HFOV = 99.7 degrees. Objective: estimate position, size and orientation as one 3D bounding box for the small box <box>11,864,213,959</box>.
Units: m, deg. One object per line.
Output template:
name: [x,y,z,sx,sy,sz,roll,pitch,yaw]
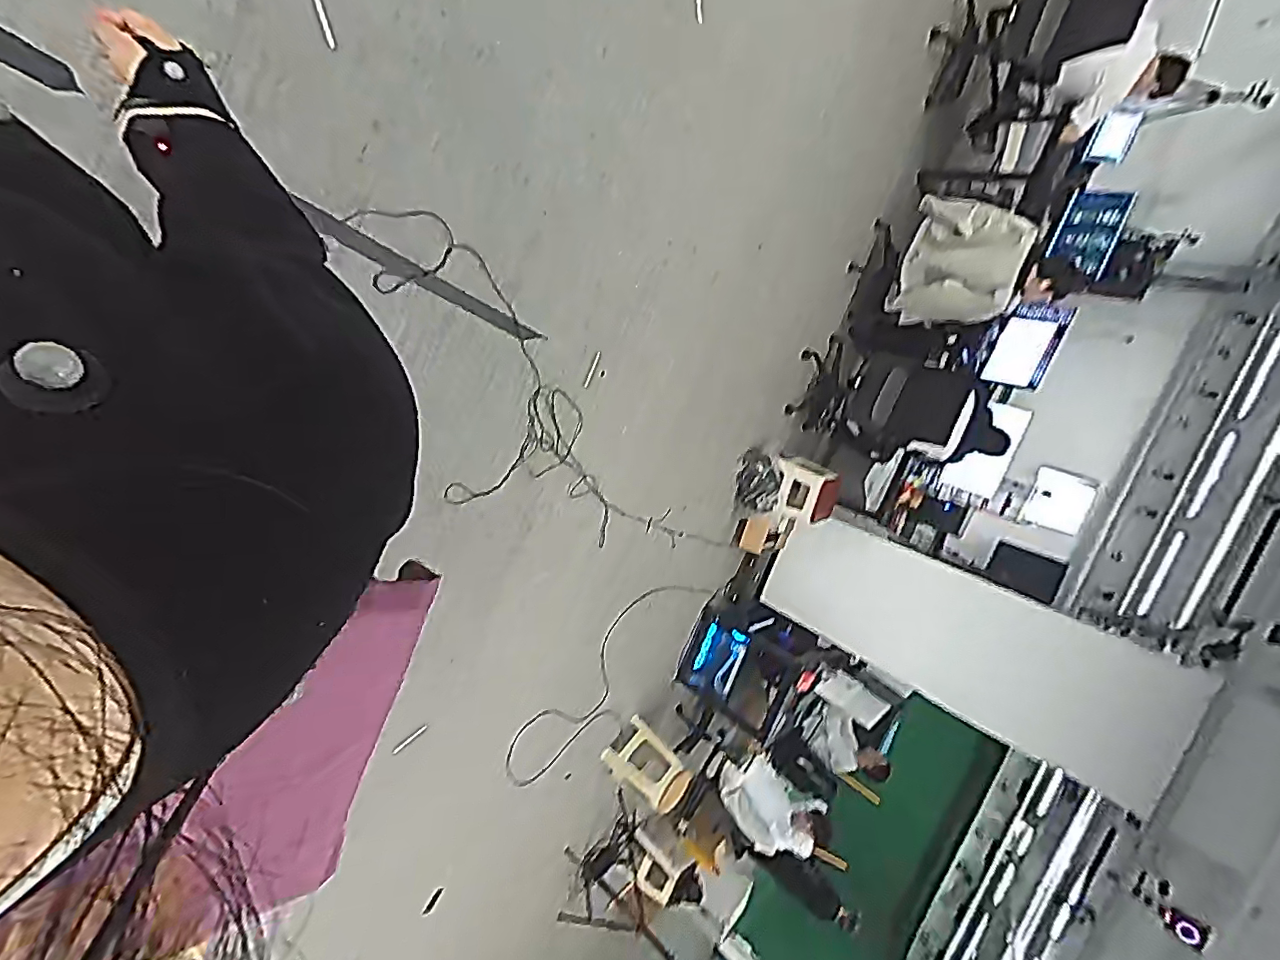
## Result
small box: [-0.710,0.656,0.715,0.168,0.176,0.179,15,96,-54]
